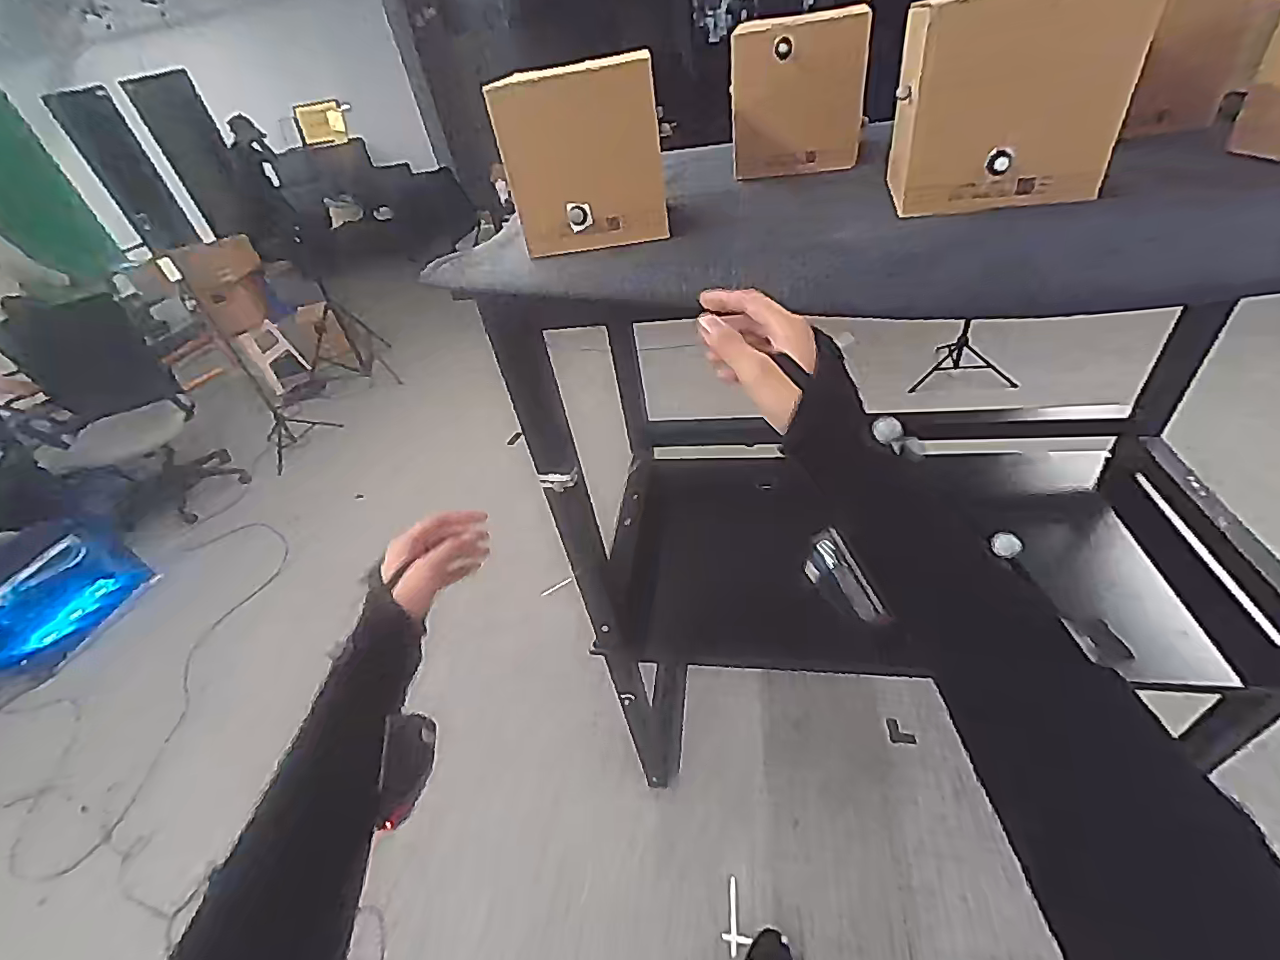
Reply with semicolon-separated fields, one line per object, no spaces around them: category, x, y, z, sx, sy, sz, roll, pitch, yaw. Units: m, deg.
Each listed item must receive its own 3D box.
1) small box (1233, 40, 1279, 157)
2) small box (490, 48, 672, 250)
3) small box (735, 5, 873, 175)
small box;0.677;-0.365;0.446;0.168;0.176;0.179;-4;38;9
small box;-0.055;-0.384;0.632;0.168;0.176;0.179;-7;39;5
small box;0.227;-0.547;0.766;0.168;0.176;0.179;2;41;16
